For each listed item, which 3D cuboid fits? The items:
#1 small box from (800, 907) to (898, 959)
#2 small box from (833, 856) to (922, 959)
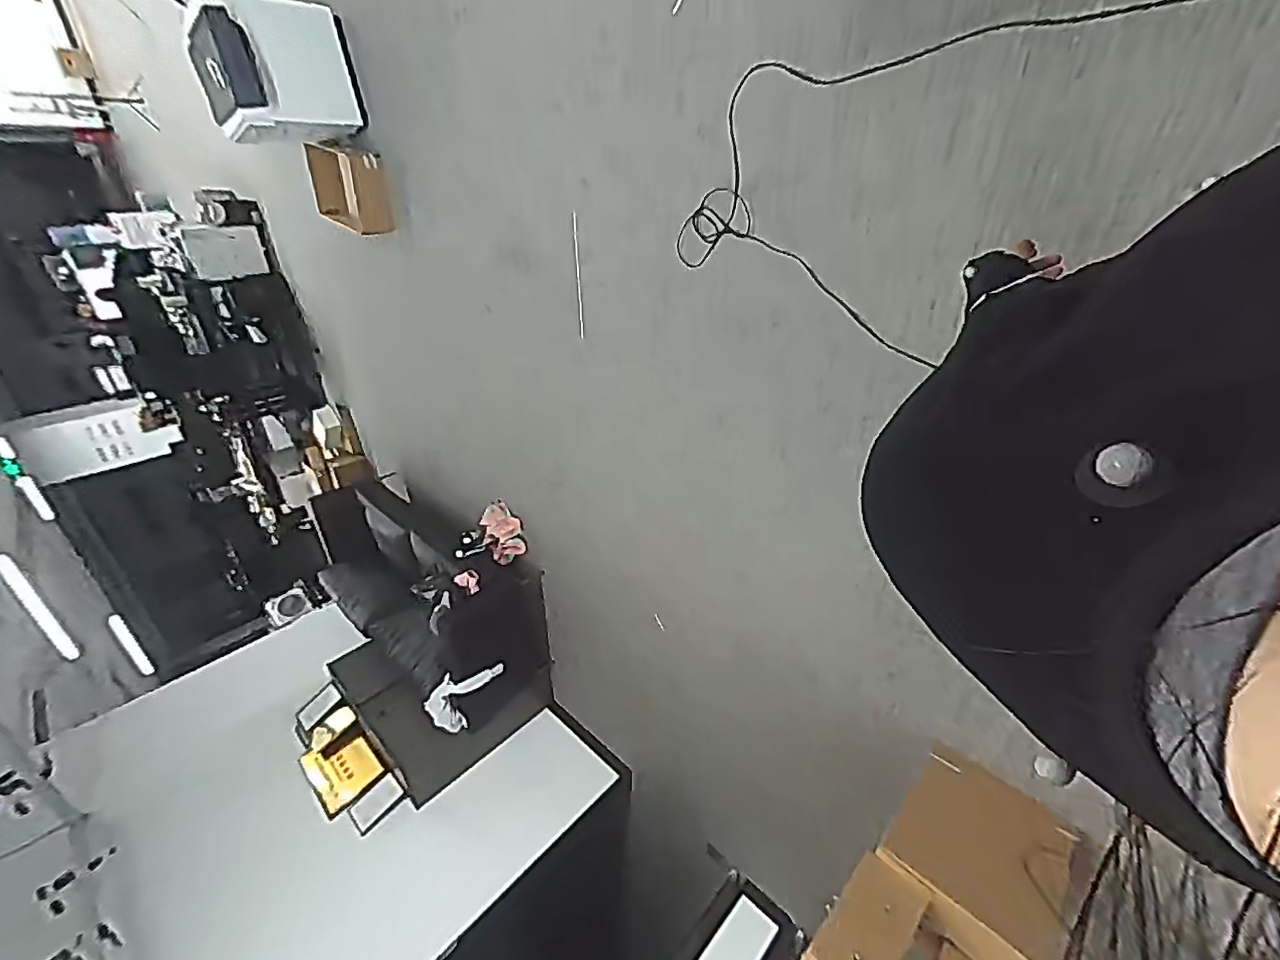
[{"bbox_3d":[0.529,1.258,1.395,0.179,0.176,0.168,30,130,35],"label":"small box"},{"bbox_3d":[0.646,1.203,1.494,0.179,0.176,0.168,29,127,35],"label":"small box"}]
